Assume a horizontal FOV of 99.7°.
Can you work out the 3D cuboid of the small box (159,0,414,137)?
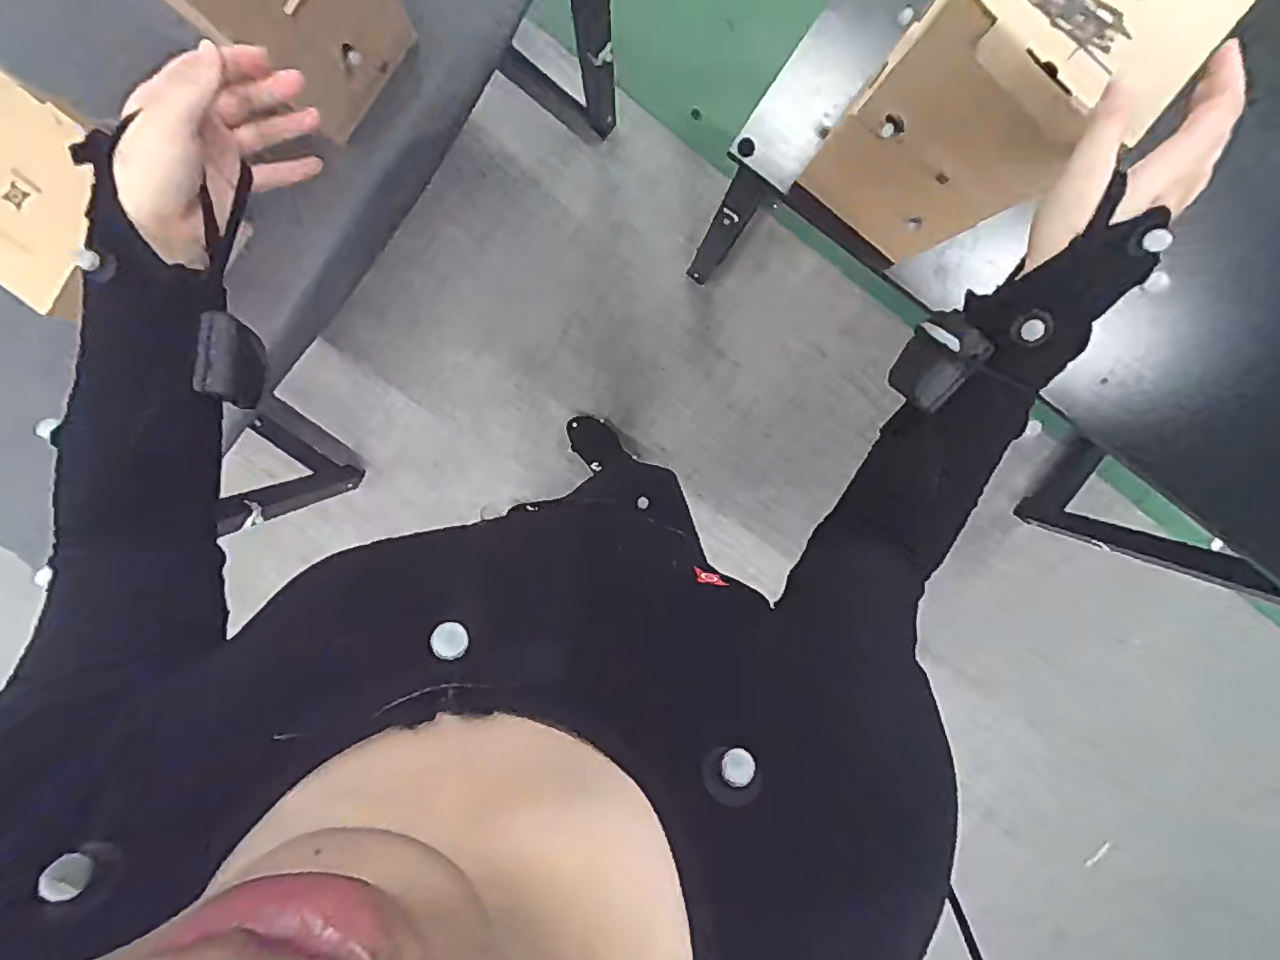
[{"bbox_3d":[-0.380,-0.510,0.576,0.179,0.176,0.168,38,97,-5],"label":"small box"}]

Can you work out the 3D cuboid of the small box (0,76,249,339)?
[{"bbox_3d":[-0.597,-0.283,0.611,0.168,0.176,0.179,38,97,-4],"label":"small box"}]

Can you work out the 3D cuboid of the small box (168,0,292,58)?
[{"bbox_3d":[-0.375,-0.495,0.414,0.168,0.176,0.179,37,98,-5],"label":"small box"}]

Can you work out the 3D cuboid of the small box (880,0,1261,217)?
[{"bbox_3d":[0.333,-0.357,0.447,0.168,0.176,0.179,38,96,-8],"label":"small box"}]
